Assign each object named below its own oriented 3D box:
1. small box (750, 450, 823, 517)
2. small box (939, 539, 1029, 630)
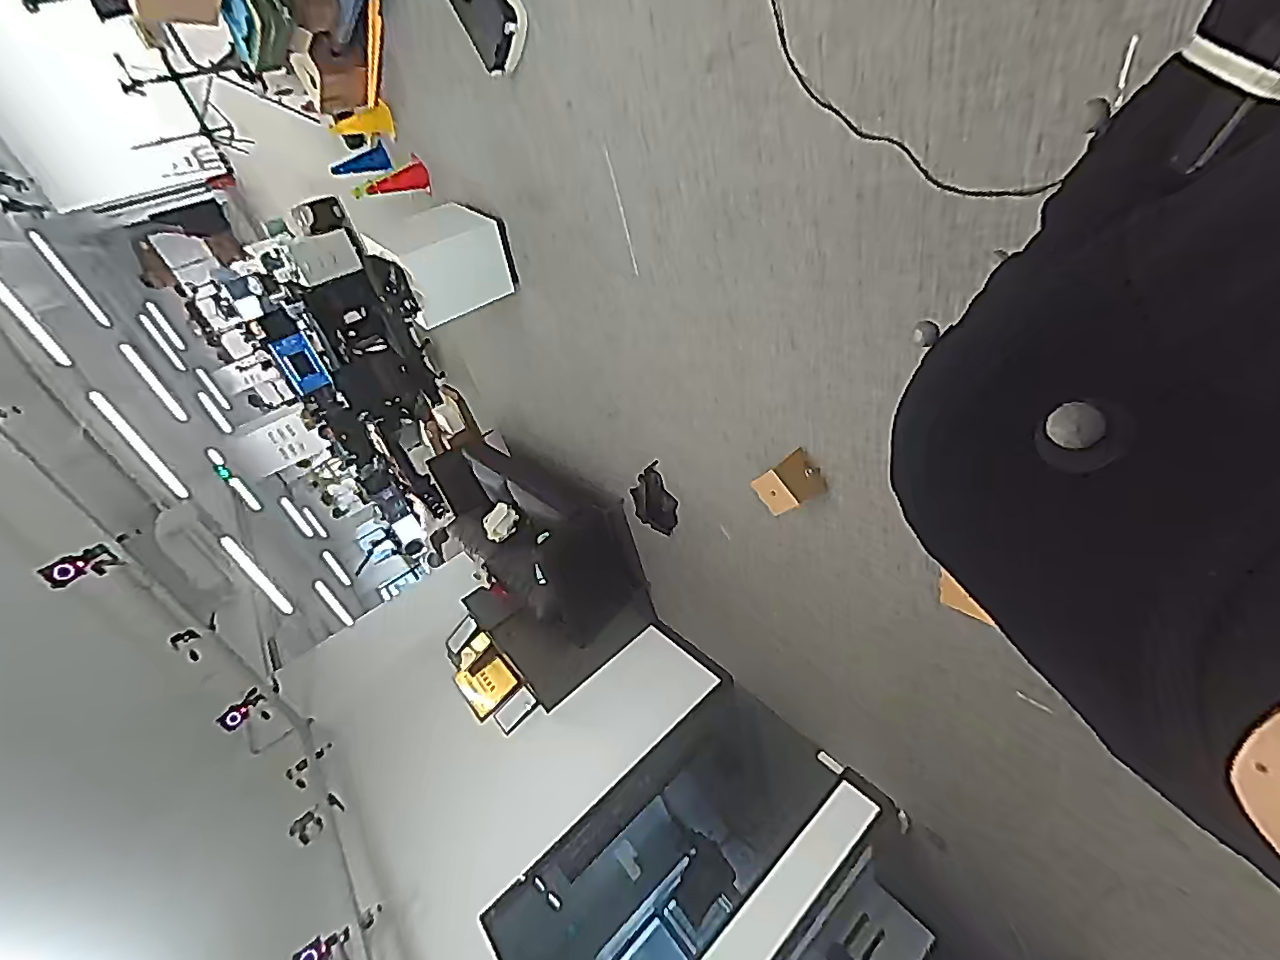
[{"bbox_3d":[0.562,0.014,2.075,0.168,0.176,0.179,52,154,5],"label":"small box"},{"bbox_3d":[1.017,0.301,1.602,0.179,0.176,0.168,26,142,49],"label":"small box"}]
